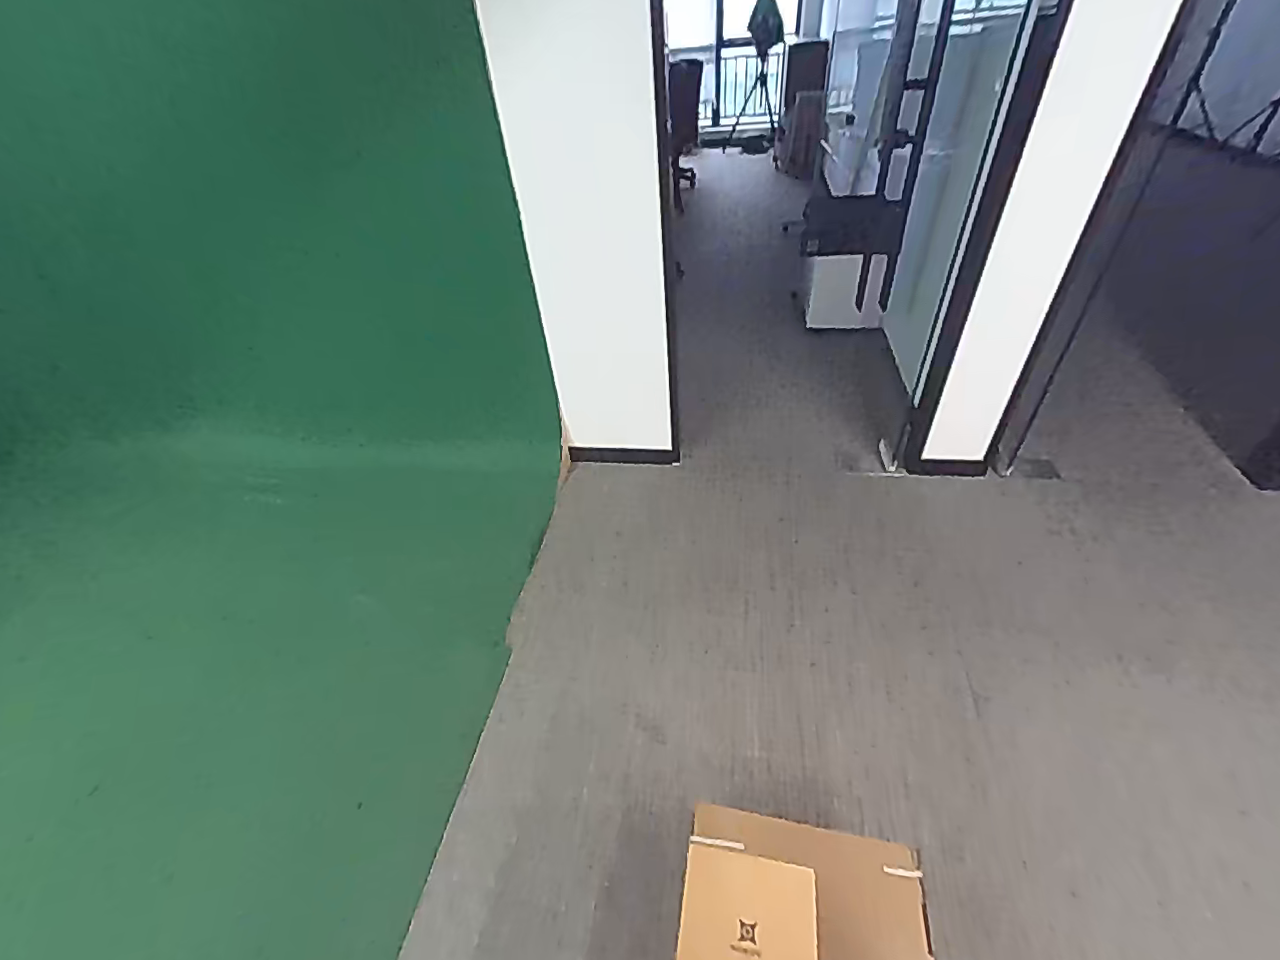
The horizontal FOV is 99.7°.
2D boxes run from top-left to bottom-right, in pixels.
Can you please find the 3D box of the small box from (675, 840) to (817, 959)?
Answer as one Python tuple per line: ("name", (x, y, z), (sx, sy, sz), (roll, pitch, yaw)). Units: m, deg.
("small box", (0.134, 0.612, 0.704), (0.168, 0.176, 0.179), (4, 40, 12))
